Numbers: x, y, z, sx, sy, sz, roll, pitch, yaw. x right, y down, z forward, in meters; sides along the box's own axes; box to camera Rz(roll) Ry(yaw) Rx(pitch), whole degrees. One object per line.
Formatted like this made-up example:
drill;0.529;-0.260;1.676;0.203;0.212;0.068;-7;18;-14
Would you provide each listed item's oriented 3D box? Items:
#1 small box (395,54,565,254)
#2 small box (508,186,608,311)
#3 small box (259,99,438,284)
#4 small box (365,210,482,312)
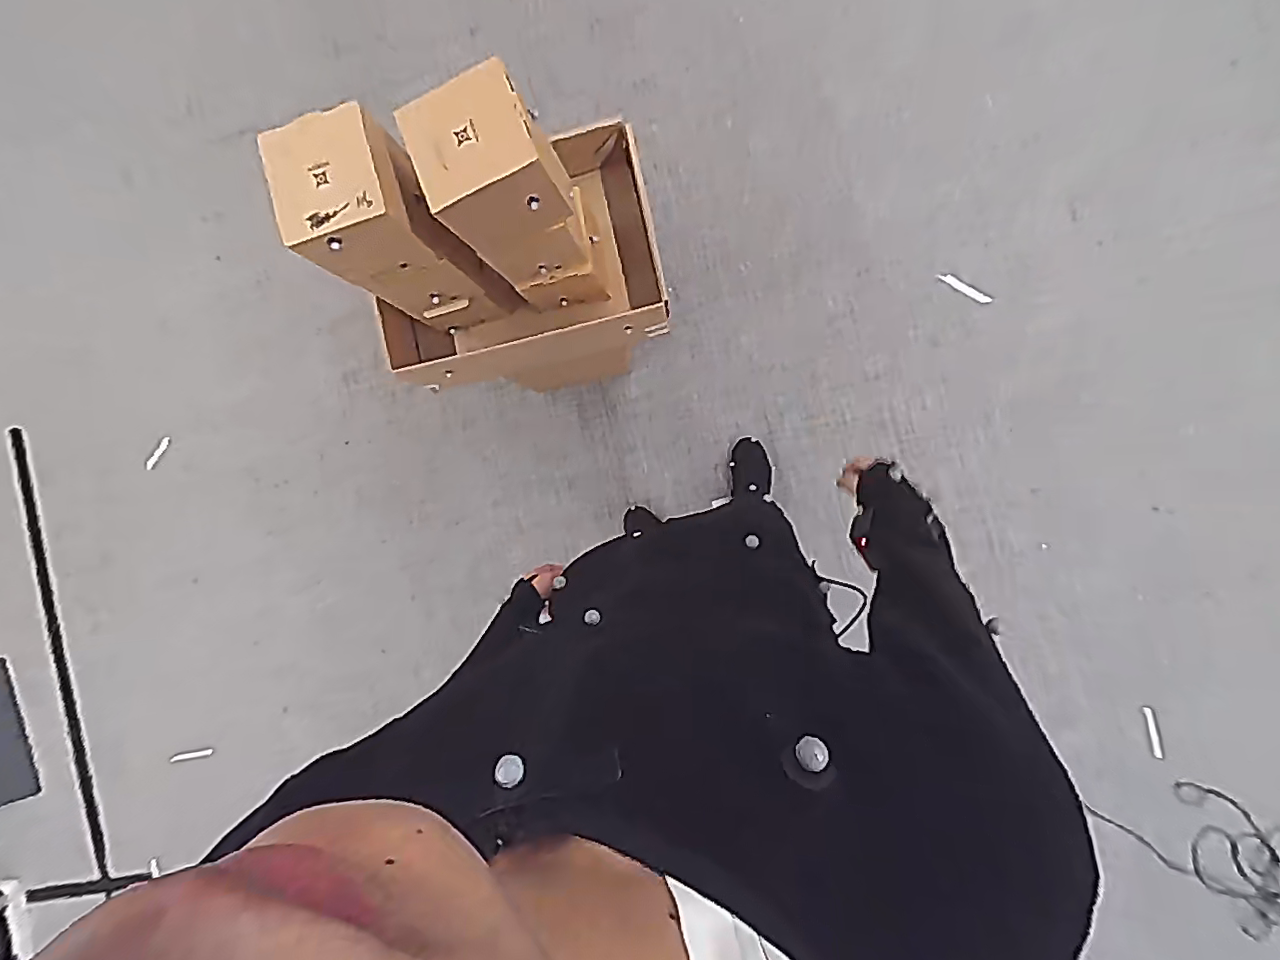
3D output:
small box;-0.231;-0.484;0.832;0.179;0.176;0.168;-21;87;10
small box;-0.174;-0.483;1.155;0.168;0.176;0.179;-10;90;10
small box;-0.448;-0.441;0.854;0.168;0.176;0.179;-15;87;8
small box;-0.422;-0.442;1.018;0.168;0.176;0.179;-15;89;7
